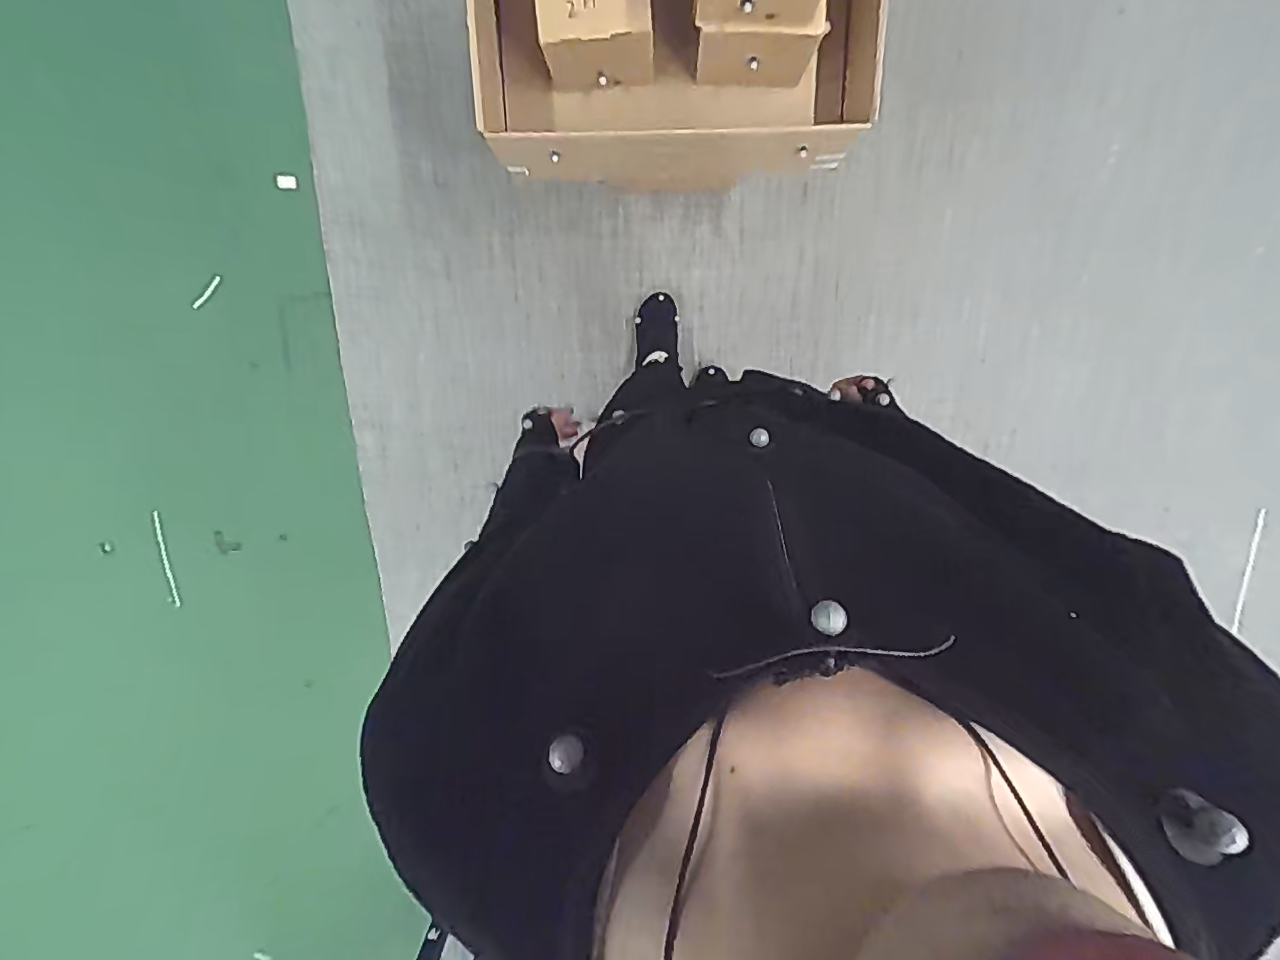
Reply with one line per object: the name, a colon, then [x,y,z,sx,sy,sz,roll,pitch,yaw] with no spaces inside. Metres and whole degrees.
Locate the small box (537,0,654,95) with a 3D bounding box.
small box: [-0.066,-0.737,0.834,0.168,0.176,0.179,-4,103,3]

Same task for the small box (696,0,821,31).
small box: [0.159,-0.706,0.667,0.168,0.176,0.179,3,103,3]
